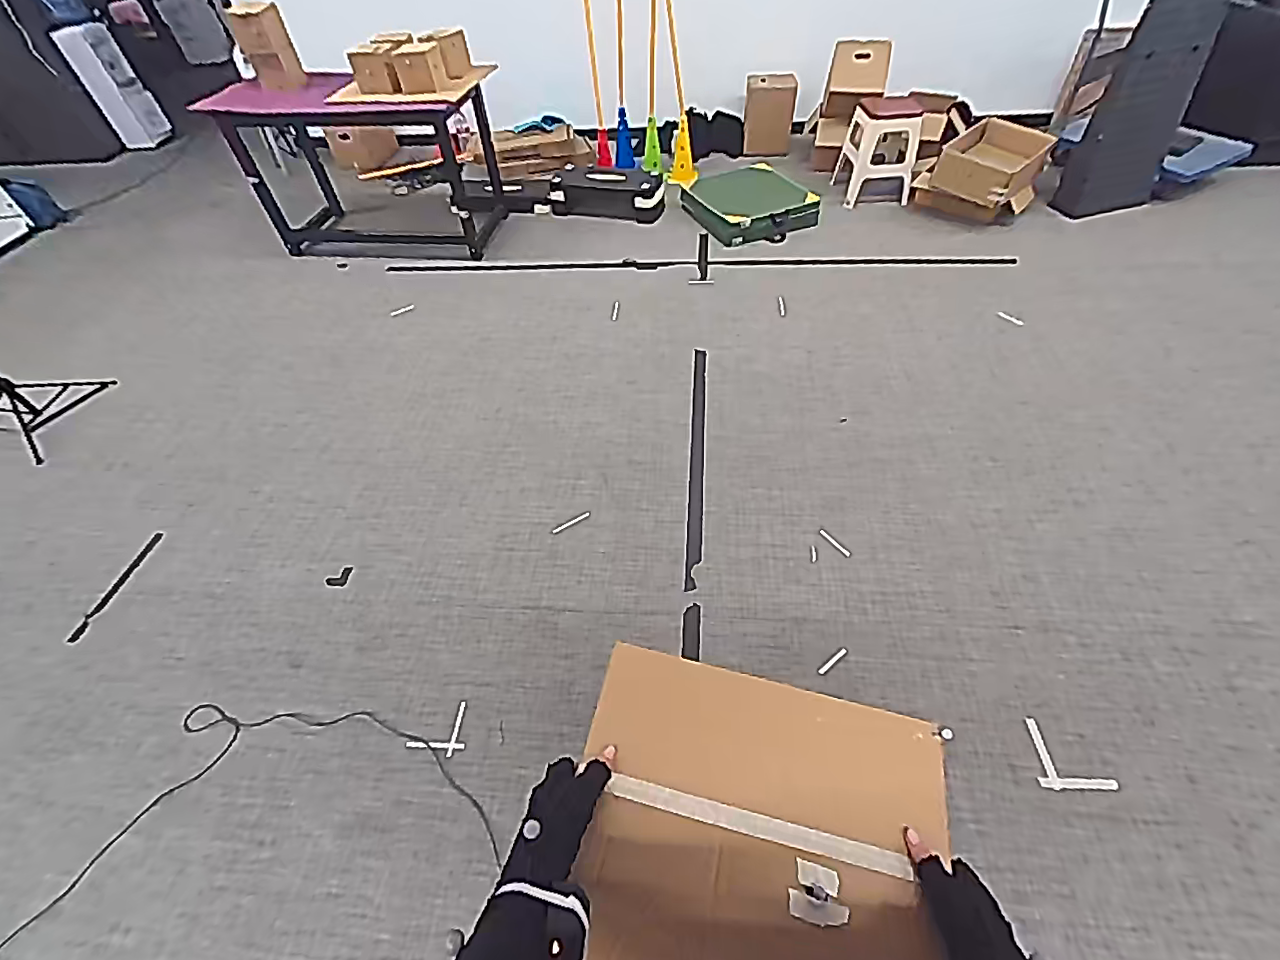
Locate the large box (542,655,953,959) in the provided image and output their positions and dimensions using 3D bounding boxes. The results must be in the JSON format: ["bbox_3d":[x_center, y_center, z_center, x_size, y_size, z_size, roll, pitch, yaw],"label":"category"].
[{"bbox_3d":[0.124,0.471,0.708,0.408,0.320,0.320,12,55,7],"label":"large box"}]
